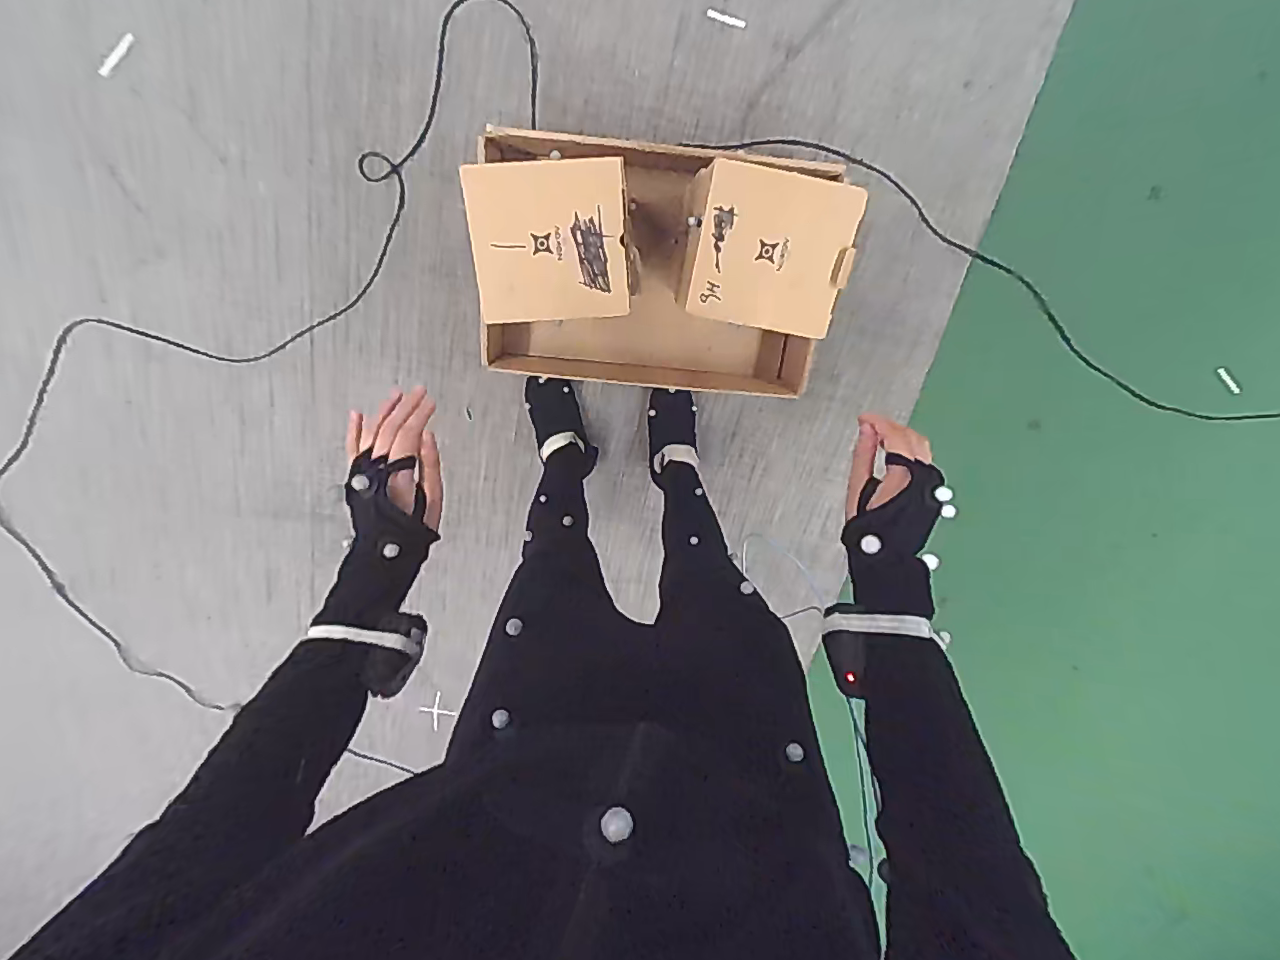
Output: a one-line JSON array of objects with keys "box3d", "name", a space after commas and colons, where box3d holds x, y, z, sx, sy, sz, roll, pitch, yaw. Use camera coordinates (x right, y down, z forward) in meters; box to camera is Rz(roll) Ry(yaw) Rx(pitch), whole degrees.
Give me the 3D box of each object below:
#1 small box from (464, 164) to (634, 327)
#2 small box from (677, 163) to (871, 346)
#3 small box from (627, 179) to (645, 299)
[{"box3d": [-0.101, -0.292, 0.679, 0.179, 0.176, 0.168, -3, 113, 0], "name": "small box"}, {"box3d": [0.152, -0.280, 0.683, 0.179, 0.176, 0.168, 10, 112, -5], "name": "small box"}, {"box3d": [-0.094, -0.358, 0.829, 0.179, 0.176, 0.168, -10, 113, 2], "name": "small box"}]
